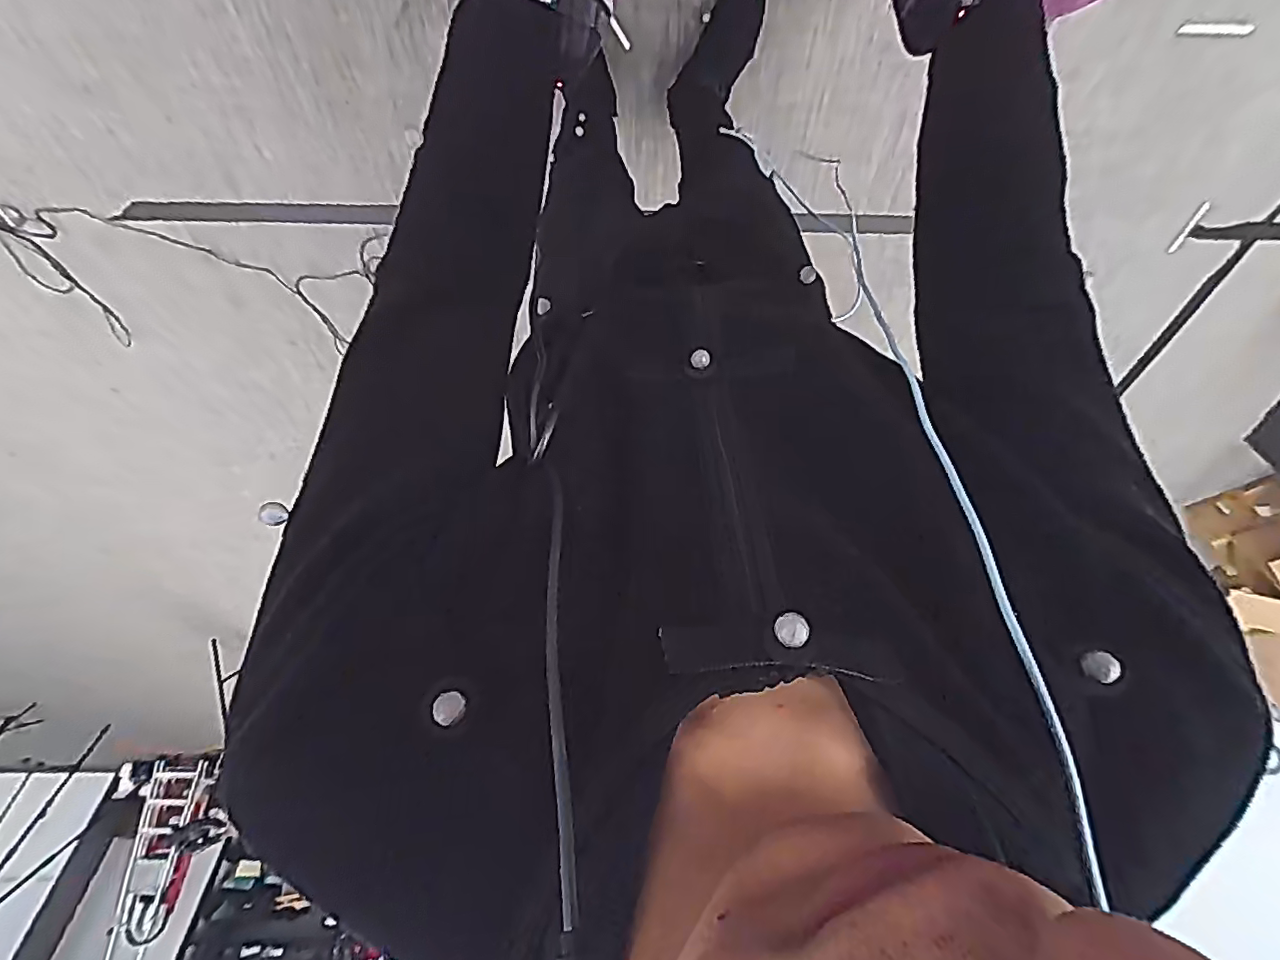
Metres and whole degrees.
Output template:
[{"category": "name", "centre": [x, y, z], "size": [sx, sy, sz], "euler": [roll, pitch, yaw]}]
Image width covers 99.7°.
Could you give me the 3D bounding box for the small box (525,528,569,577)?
[{"category": "small box", "centre": [-0.425, 0.334, 2.509], "size": [0.179, 0.176, 0.168], "euler": [-1, 139, 1]}]
